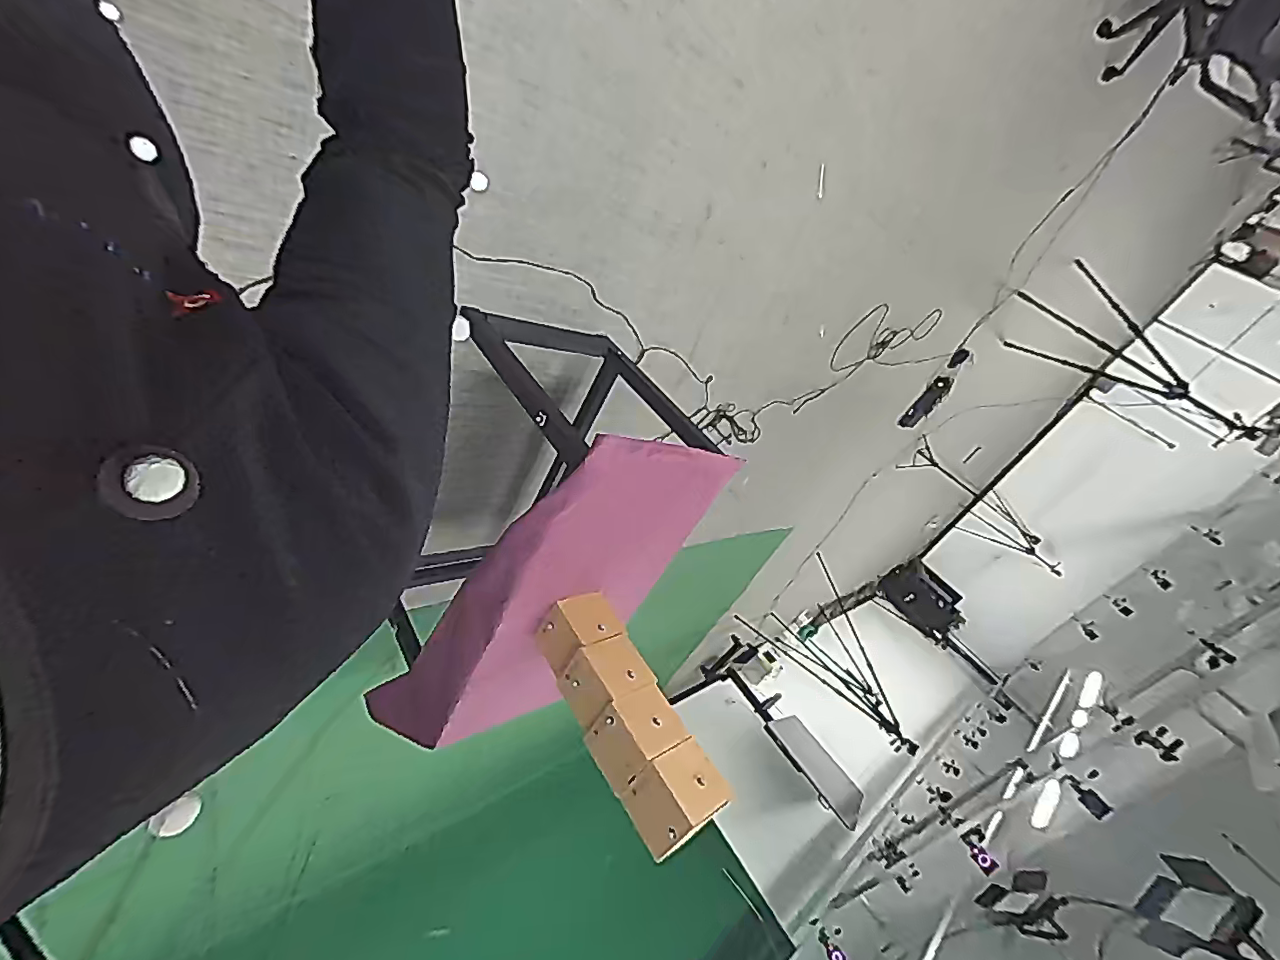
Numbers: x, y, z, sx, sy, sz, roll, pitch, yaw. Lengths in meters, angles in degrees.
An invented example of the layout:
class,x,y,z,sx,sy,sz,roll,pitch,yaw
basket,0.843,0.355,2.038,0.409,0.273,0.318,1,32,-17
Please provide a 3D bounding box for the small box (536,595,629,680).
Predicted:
class,x,y,z,sx,sy,sz,roll,pitch,yaw
small box,-0.172,0.458,1.590,0.179,0.176,0.168,2,128,-48

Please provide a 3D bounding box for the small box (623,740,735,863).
class,x,y,z,sx,sy,sz,roll,pitch,yaw
small box,0.093,0.774,1.322,0.179,0.176,0.168,1,128,-49

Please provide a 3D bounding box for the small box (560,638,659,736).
class,x,y,z,sx,sy,sz,roll,pitch,yaw
small box,-0.088,0.560,1.492,0.179,0.176,0.168,0,129,-47

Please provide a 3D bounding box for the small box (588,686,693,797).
class,x,y,z,sx,sy,sz,roll,pitch,yaw
small box,-0.004,0.669,1.402,0.179,0.176,0.168,0,130,-48
